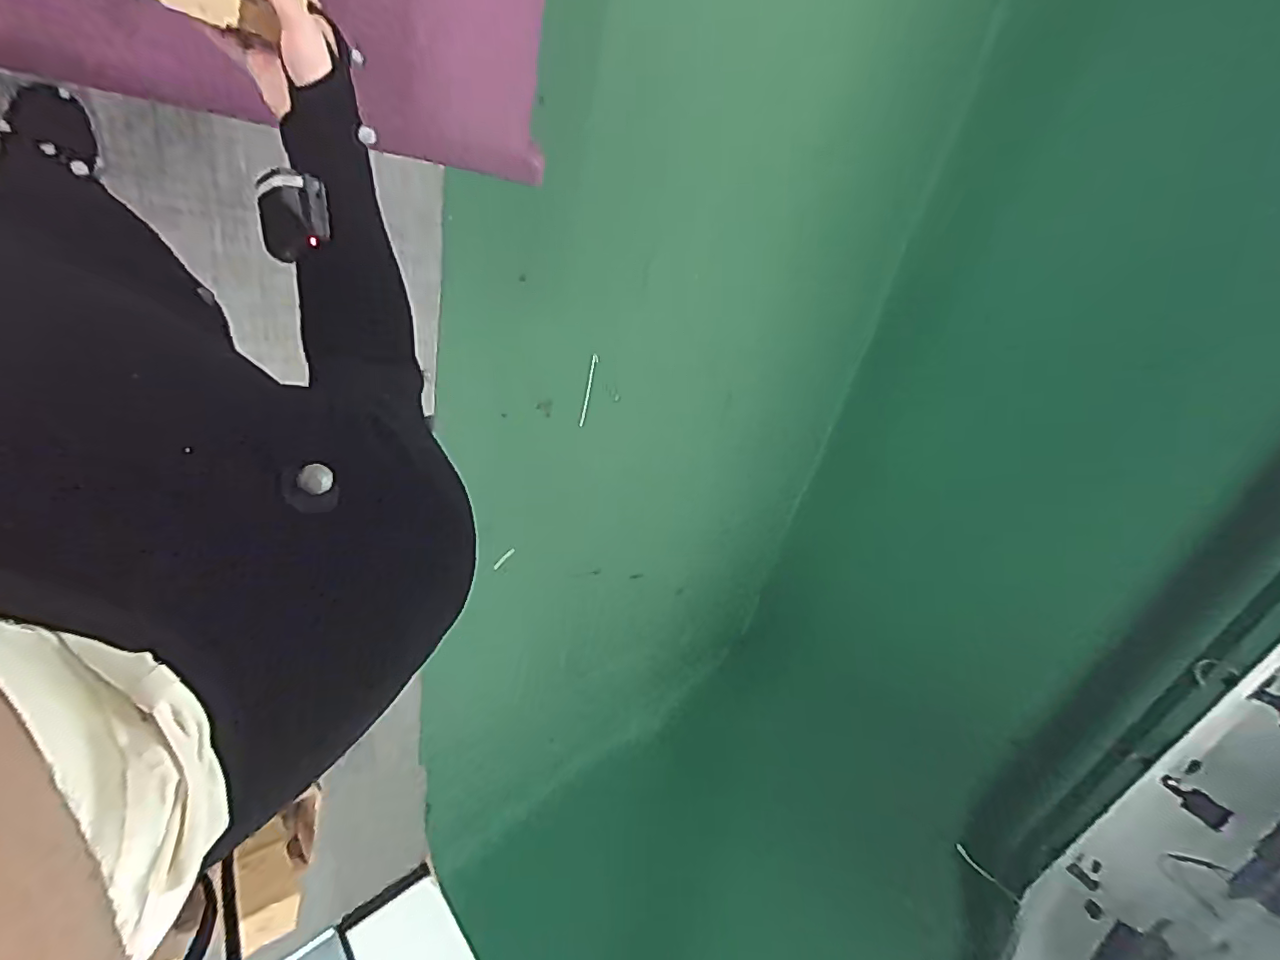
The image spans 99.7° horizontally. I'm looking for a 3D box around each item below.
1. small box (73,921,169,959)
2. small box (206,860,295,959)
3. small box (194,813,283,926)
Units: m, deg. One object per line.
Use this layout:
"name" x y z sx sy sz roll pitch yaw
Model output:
"small box" -1.240 1.213 1.290 0.168 0.176 0.179 -5 122 -47
"small box" -1.070 1.201 1.482 0.168 0.176 0.179 -3 120 -47
"small box" -1.177 1.129 1.584 0.179 0.176 0.168 -4 121 -47
